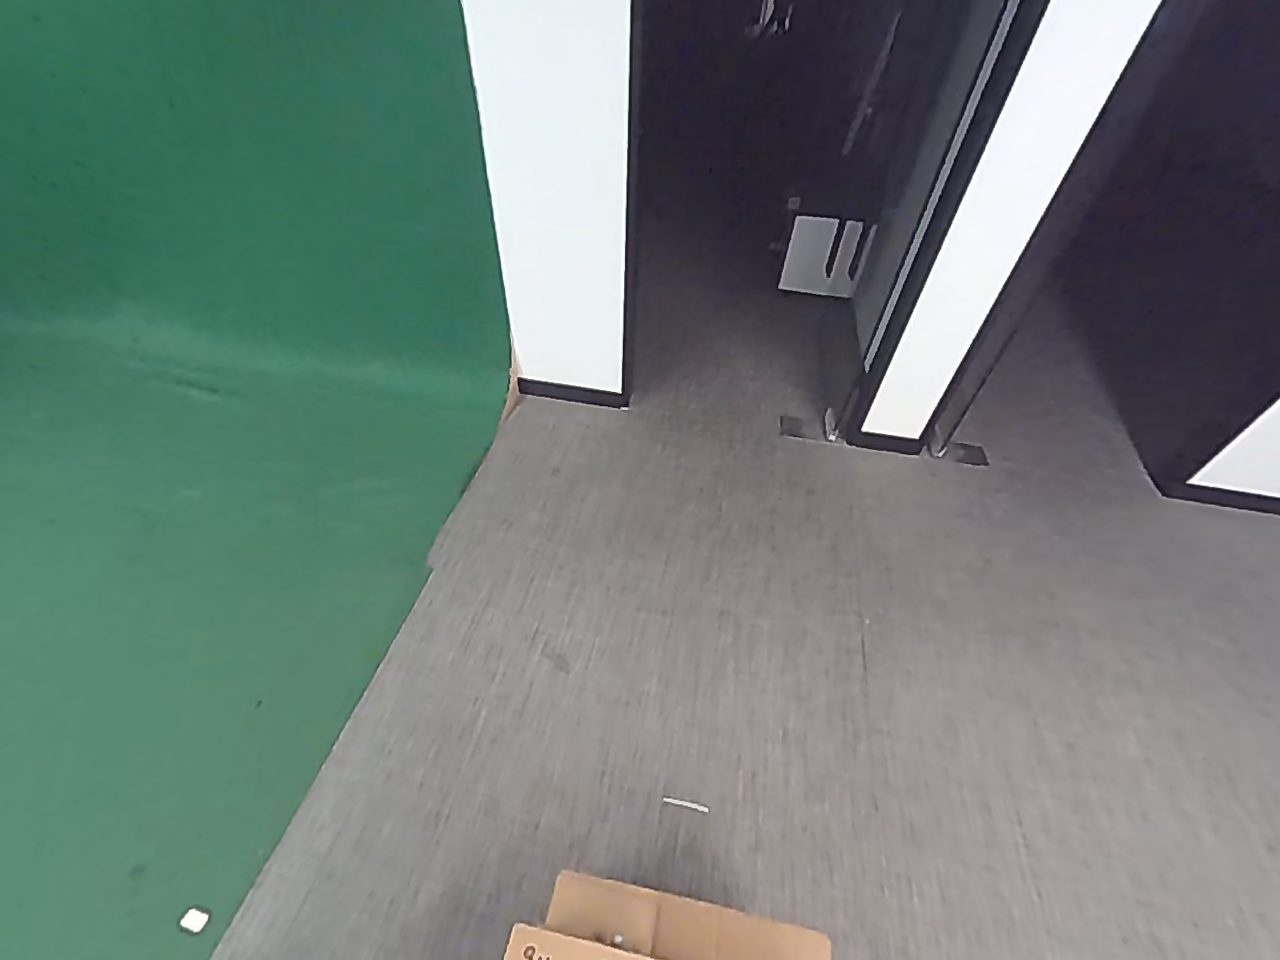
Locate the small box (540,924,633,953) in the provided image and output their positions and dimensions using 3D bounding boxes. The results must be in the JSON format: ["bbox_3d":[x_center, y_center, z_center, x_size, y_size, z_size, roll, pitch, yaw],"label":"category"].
[{"bbox_3d":[-0.063,0.656,0.630,0.168,0.176,0.179,12,47,6],"label":"small box"}]

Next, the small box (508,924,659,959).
[{"bbox_3d":[-0.056,0.548,0.500,0.168,0.176,0.179,10,46,5],"label":"small box"}]
